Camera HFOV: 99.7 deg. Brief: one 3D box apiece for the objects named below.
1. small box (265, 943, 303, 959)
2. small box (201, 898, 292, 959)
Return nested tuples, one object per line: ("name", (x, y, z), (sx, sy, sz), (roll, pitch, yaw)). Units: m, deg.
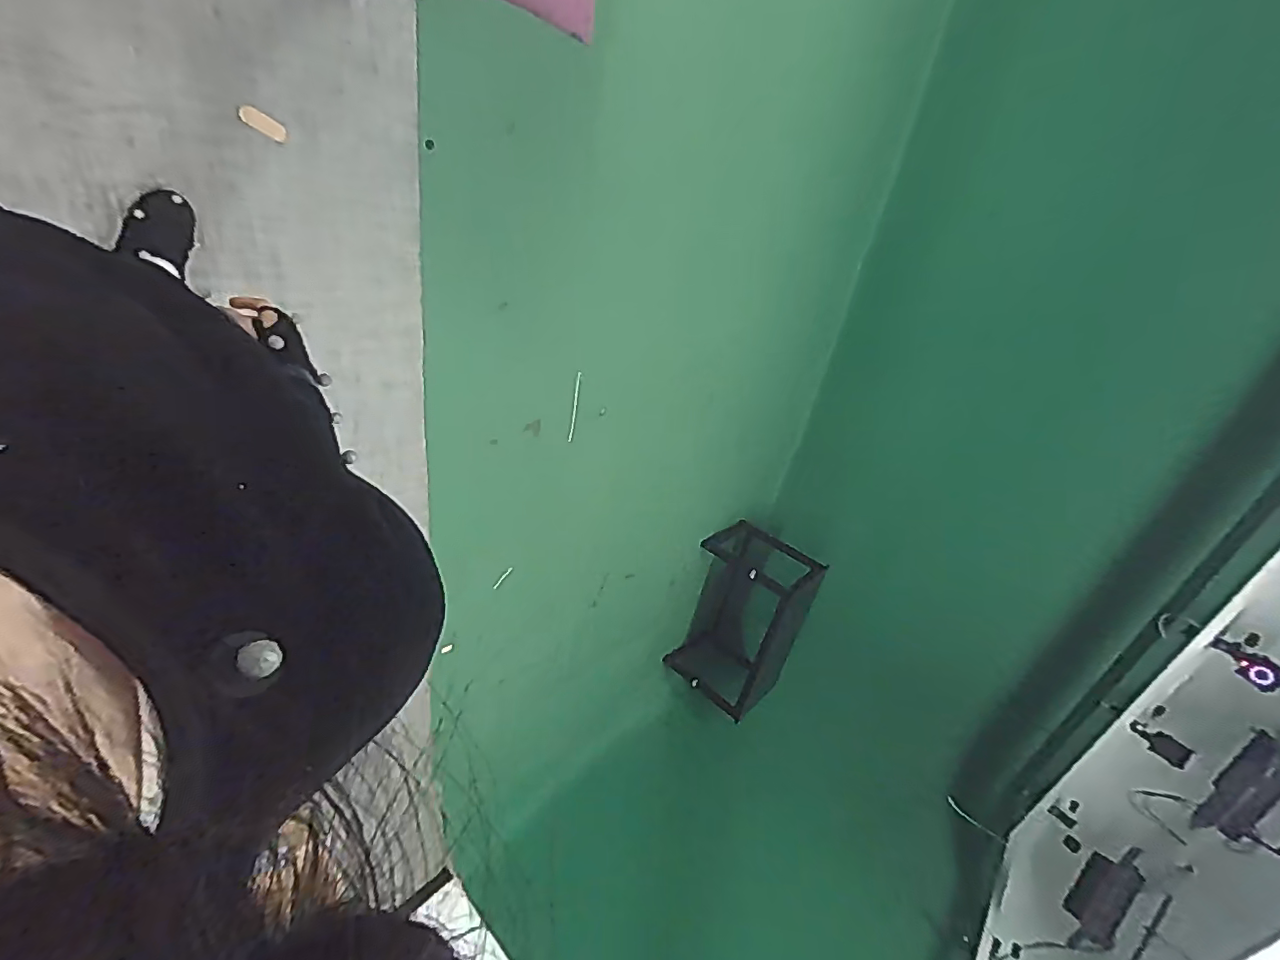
("small box", (-0.974, 1.399, 1.444), (0.168, 0.176, 0.179), (-29, 135, -40))
("small box", (-1.102, 1.341, 1.530), (0.168, 0.176, 0.179), (-27, 133, -41))
